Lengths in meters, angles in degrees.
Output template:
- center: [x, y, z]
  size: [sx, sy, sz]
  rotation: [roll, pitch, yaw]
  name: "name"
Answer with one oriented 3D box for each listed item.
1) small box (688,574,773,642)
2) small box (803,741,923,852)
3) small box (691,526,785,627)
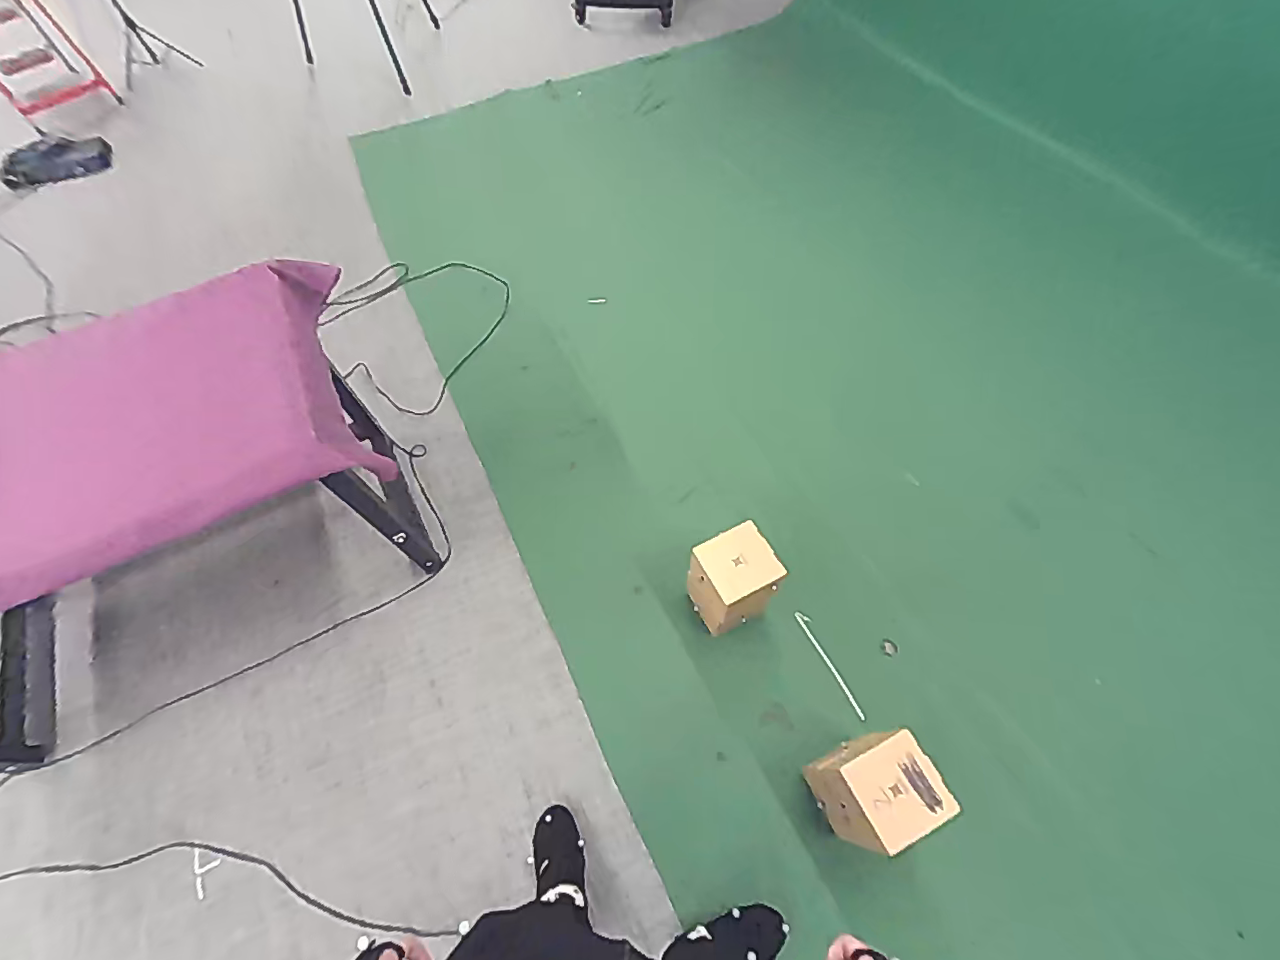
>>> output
- center: [0.247, 0.331, 1.525]
  size: [0.179, 0.176, 0.168]
  rotation: [-25, 61, -11]
  name: "small box"
- center: [0.516, 0.740, 1.278]
  size: [0.179, 0.176, 0.168]
  rotation: [-23, 62, -10]
  name: "small box"
- center: [0.243, 0.252, 1.384]
  size: [0.179, 0.176, 0.168]
  rotation: [-24, 61, -13]
  name: "small box"
